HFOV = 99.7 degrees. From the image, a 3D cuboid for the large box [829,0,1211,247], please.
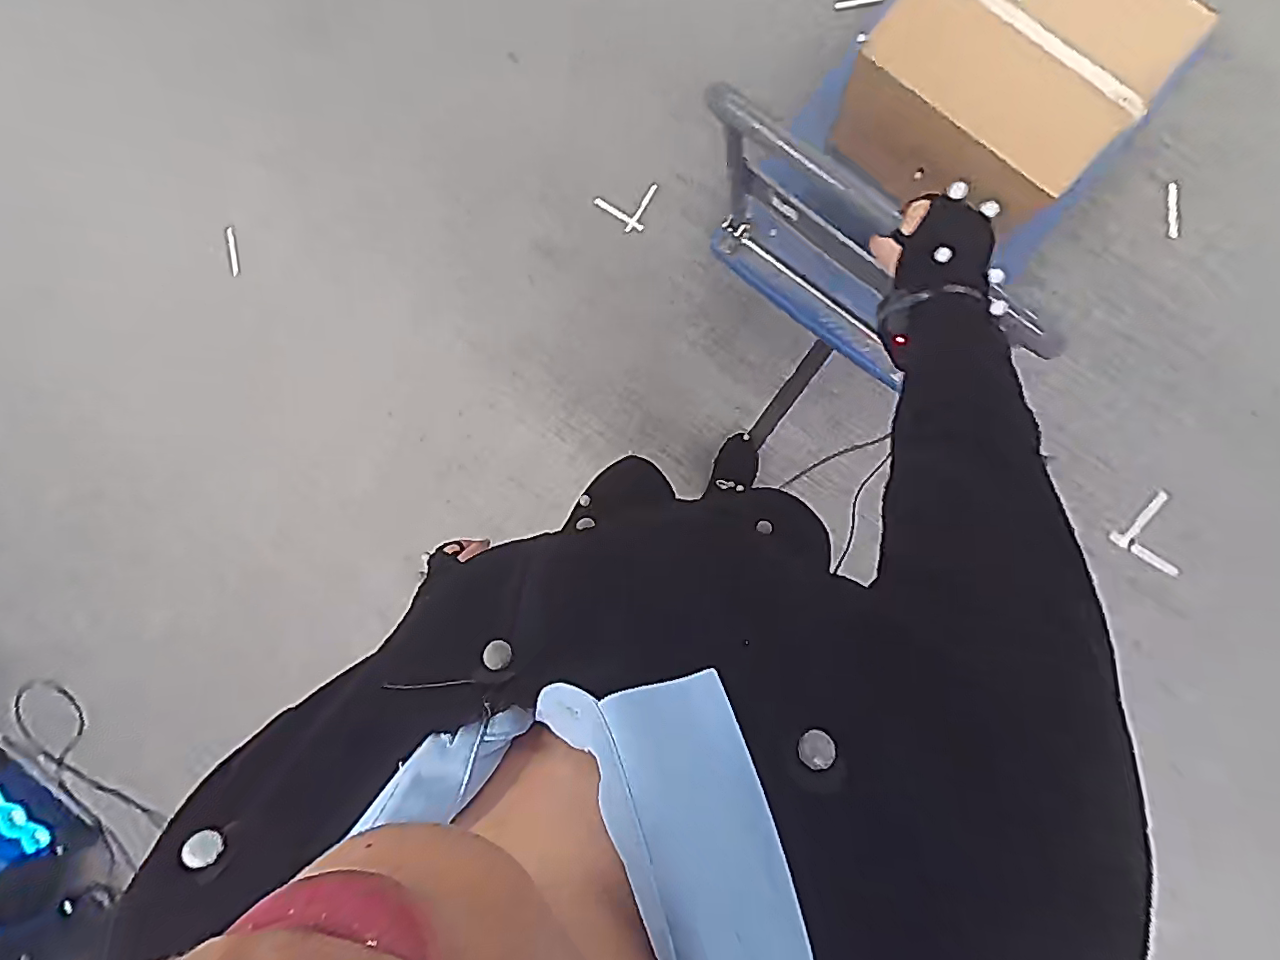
[{"bbox_3d":[0.619,-0.706,0.977,0.408,0.320,0.320,40,101,5],"label":"large box"}]
